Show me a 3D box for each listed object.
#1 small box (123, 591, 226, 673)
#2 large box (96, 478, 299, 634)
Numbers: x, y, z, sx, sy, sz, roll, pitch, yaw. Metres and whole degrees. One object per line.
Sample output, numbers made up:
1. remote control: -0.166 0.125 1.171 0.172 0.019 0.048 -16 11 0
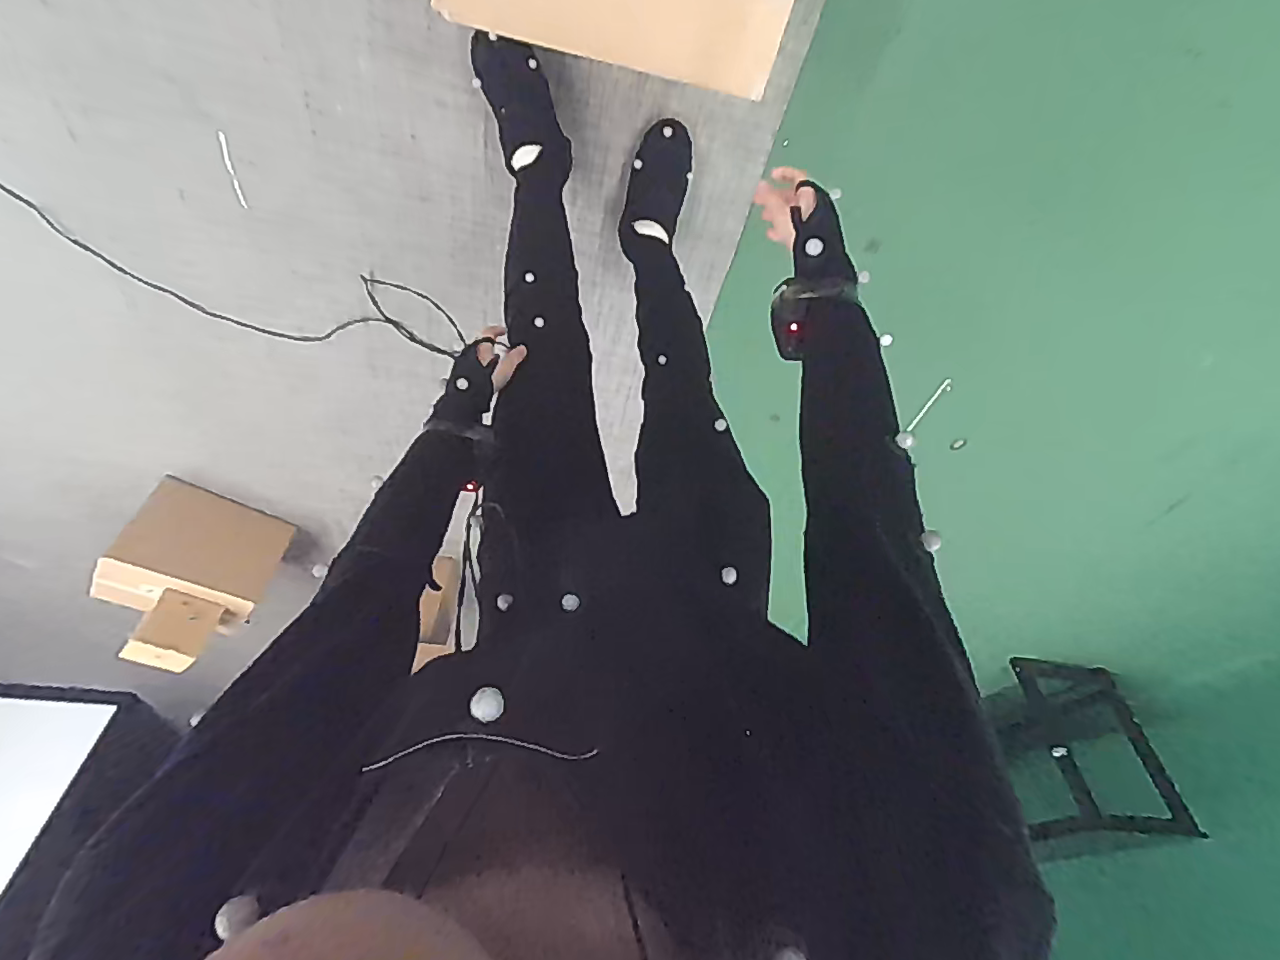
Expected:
1. small box: -1.418 0.466 1.655 0.179 0.176 0.168 -31 129 32
2. large box: -1.441 0.259 1.789 0.408 0.320 0.320 32 130 -29
